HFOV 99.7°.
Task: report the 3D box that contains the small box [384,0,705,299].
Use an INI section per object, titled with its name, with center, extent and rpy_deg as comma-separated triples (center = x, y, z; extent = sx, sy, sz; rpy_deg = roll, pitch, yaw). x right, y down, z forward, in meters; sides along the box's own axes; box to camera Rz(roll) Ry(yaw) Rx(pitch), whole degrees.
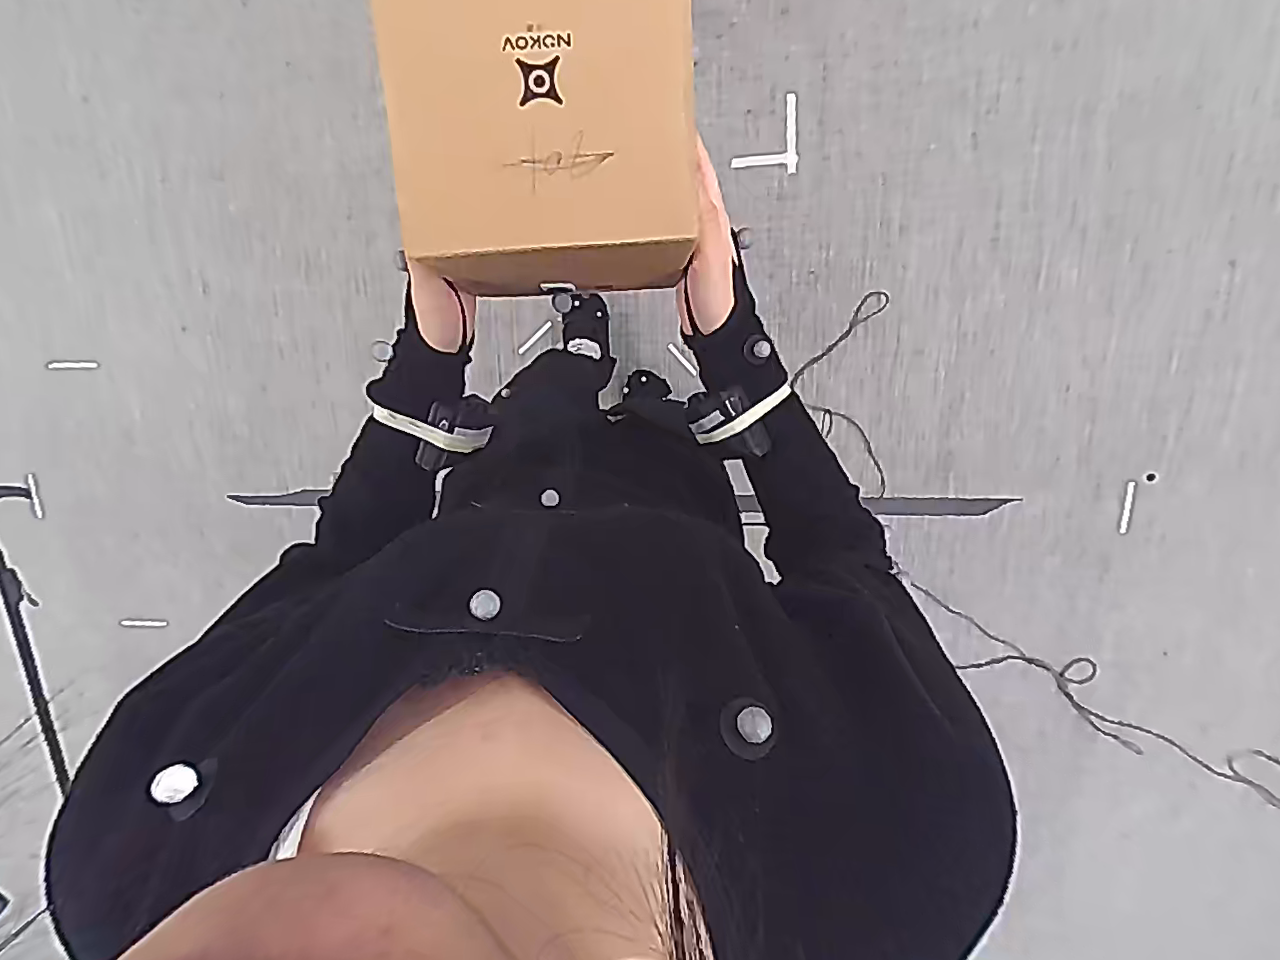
[small box]
center = -0.051, -0.230, 0.367
extent = 0.168, 0.176, 0.179
rpy_deg = -4, 101, 0
